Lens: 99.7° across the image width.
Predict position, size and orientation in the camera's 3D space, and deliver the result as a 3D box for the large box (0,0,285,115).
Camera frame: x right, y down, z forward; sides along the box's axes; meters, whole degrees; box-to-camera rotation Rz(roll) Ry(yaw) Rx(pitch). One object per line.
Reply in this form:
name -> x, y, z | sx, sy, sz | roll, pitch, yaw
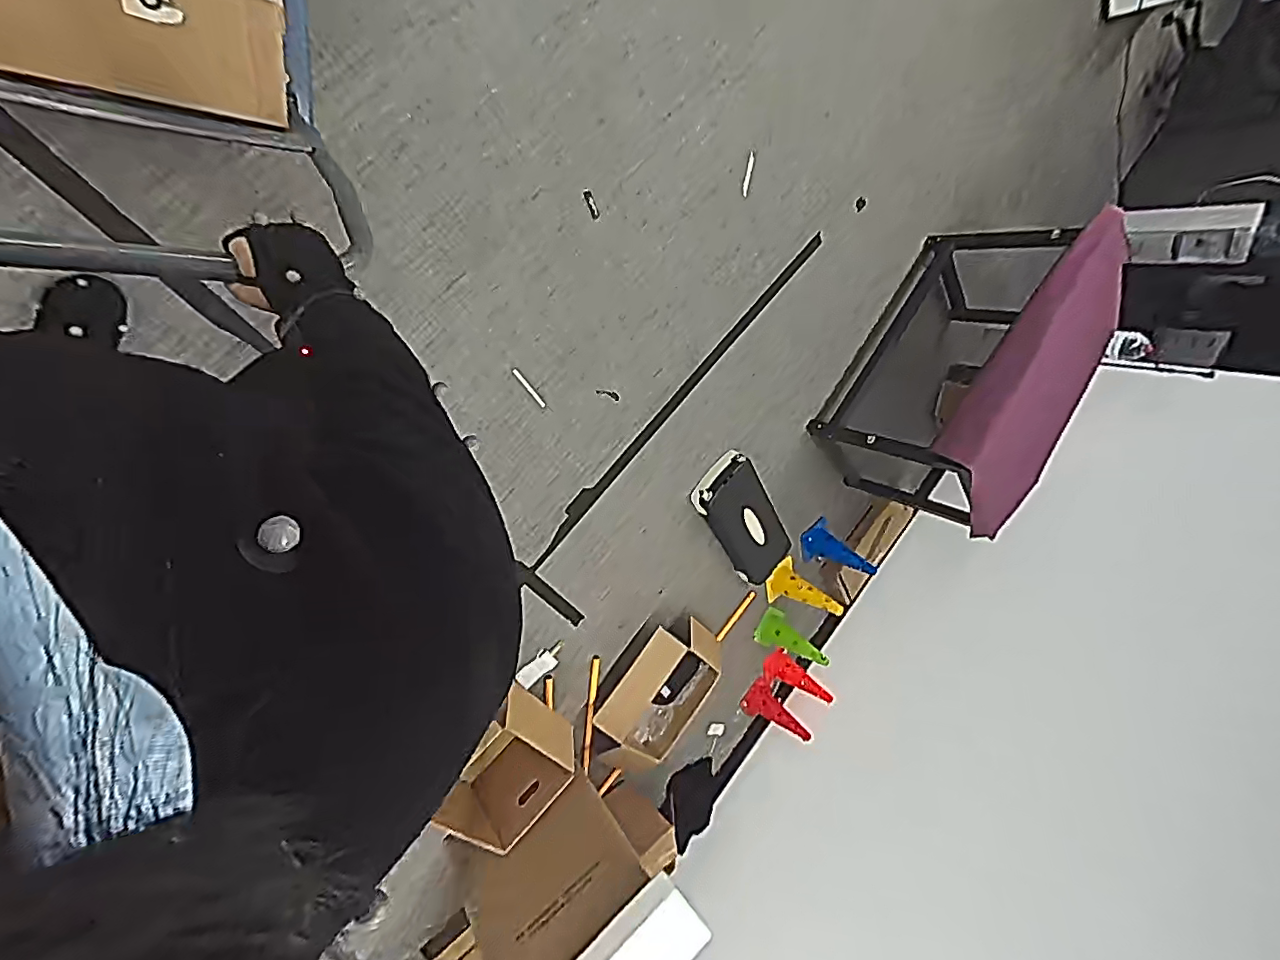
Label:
large box -> -0.732, -0.715, 0.693 | 0.408, 0.320, 0.320 | -11, 133, -37
